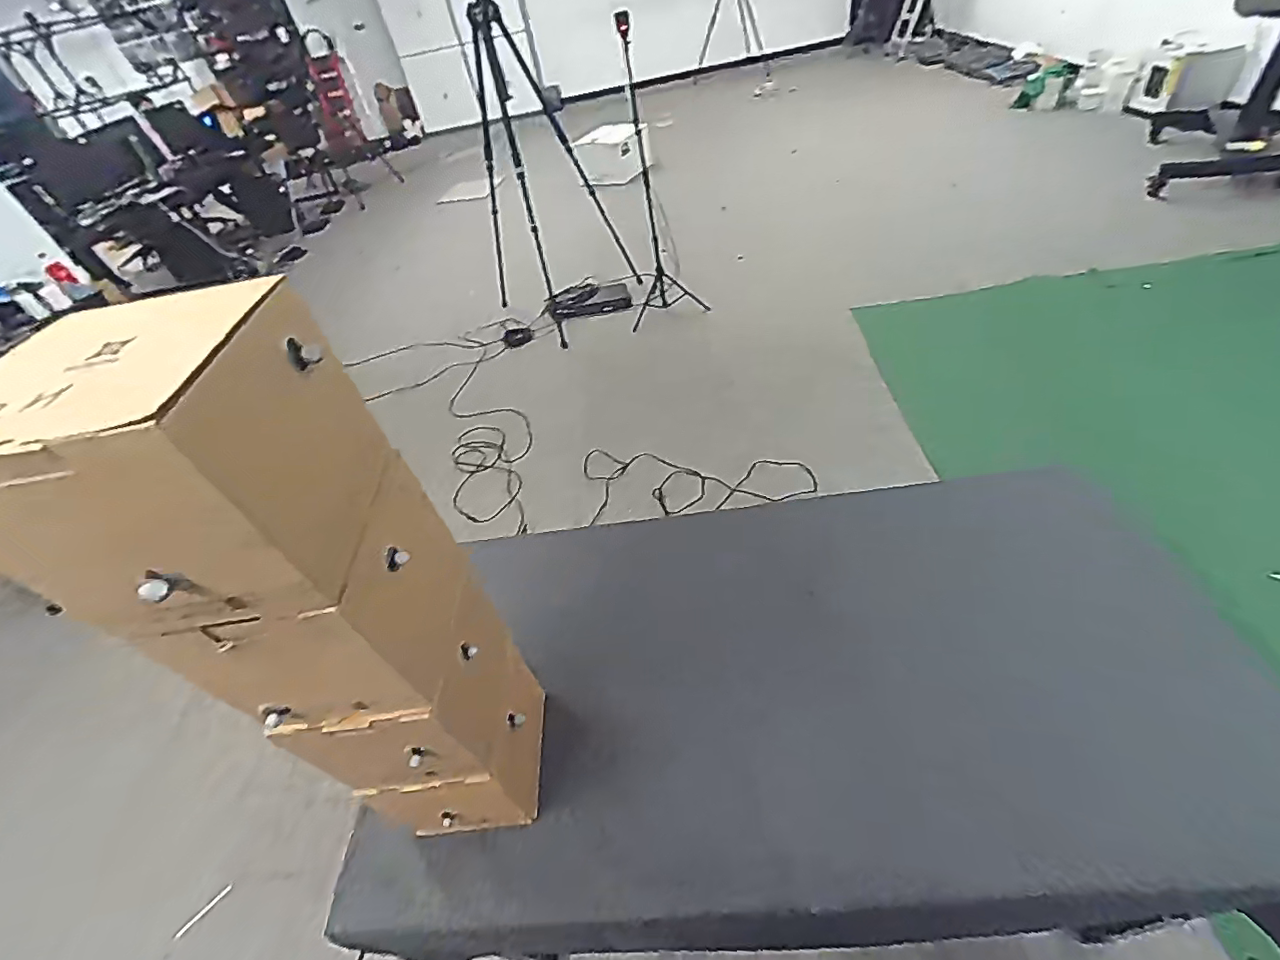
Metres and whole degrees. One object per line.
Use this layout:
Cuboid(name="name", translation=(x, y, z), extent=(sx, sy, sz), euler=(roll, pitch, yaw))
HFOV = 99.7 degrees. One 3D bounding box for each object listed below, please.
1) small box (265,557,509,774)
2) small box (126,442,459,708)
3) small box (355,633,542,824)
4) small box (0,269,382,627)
Cuboid(name="small box", translation=(-0.258, 0.213, 0.607), extent=(0.168, 0.176, 0.179), euler=(-8, 44, 4))
Cuboid(name="small box", translation=(-0.285, 0.093, 0.499), extent=(0.168, 0.176, 0.179), euler=(-8, 44, 3))
Cuboid(name="small box", translation=(-0.234, 0.330, 0.718), extent=(0.168, 0.176, 0.179), euler=(-9, 45, 4))
Cuboid(name="small box", translation=(-0.313, -0.023, 0.384), extent=(0.168, 0.176, 0.179), euler=(-10, 45, 3))
